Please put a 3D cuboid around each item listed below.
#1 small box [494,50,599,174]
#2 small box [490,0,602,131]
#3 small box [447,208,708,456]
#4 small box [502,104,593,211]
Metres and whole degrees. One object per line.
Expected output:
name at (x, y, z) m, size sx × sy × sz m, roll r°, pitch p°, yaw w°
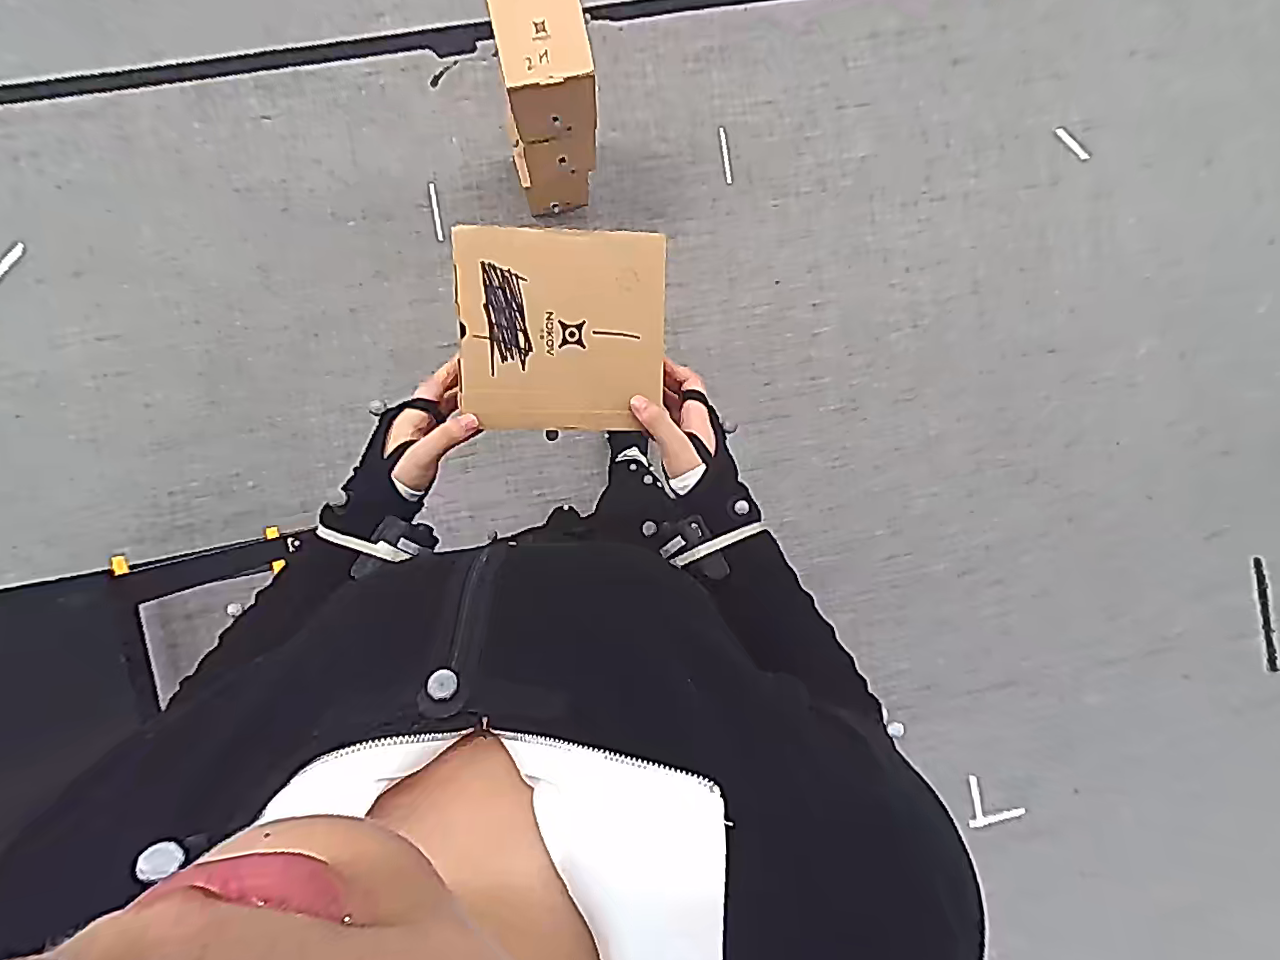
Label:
small box at (-0.185, -0.772, 1.131) m, size 0.168 × 0.176 × 0.179 m, roll -17°, pitch 94°, yaw -3°
small box at (-0.166, -0.772, 0.966) m, size 0.168 × 0.176 × 0.179 m, roll -13°, pitch 93°, yaw -3°
small box at (-0.048, -0.112, 0.451) m, size 0.179 × 0.176 × 0.168 m, roll -1°, pitch 101°, yaw -6°
small box at (-0.215, -0.776, 1.293) m, size 0.168 × 0.176 × 0.179 m, roll -16°, pitch 95°, yaw -3°
